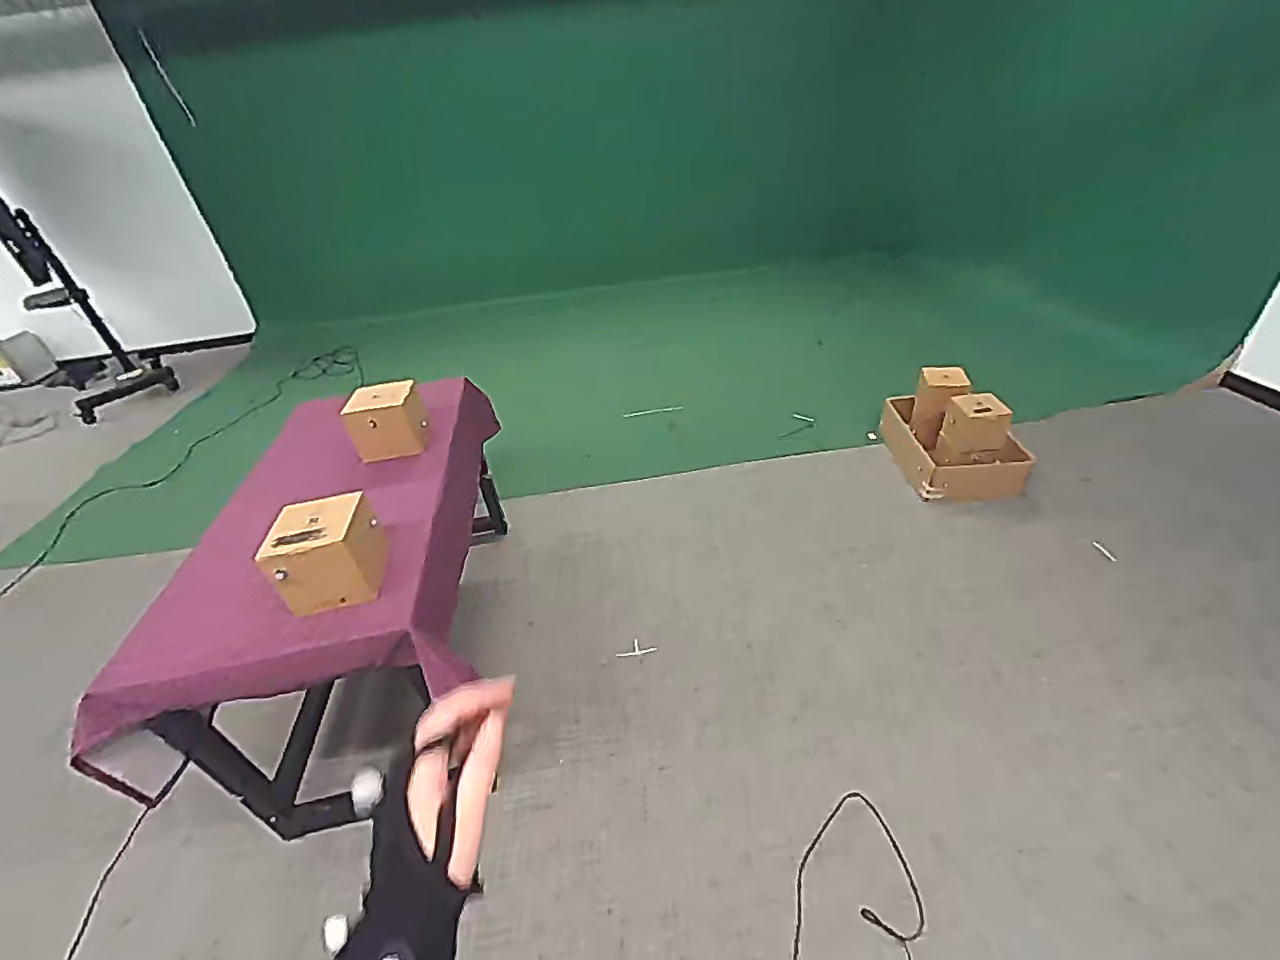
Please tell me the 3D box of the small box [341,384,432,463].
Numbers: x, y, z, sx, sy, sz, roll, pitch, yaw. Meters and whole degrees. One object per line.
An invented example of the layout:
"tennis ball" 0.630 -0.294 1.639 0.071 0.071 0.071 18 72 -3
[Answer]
"small box" -0.749 -0.166 1.618 0.179 0.176 0.168 -9 36 -2

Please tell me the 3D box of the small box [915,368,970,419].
"small box" 1.355 -0.390 2.436 0.168 0.176 0.179 2 39 13

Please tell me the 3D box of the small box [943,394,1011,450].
"small box" 1.373 -0.232 2.215 0.168 0.176 0.179 -5 34 5
